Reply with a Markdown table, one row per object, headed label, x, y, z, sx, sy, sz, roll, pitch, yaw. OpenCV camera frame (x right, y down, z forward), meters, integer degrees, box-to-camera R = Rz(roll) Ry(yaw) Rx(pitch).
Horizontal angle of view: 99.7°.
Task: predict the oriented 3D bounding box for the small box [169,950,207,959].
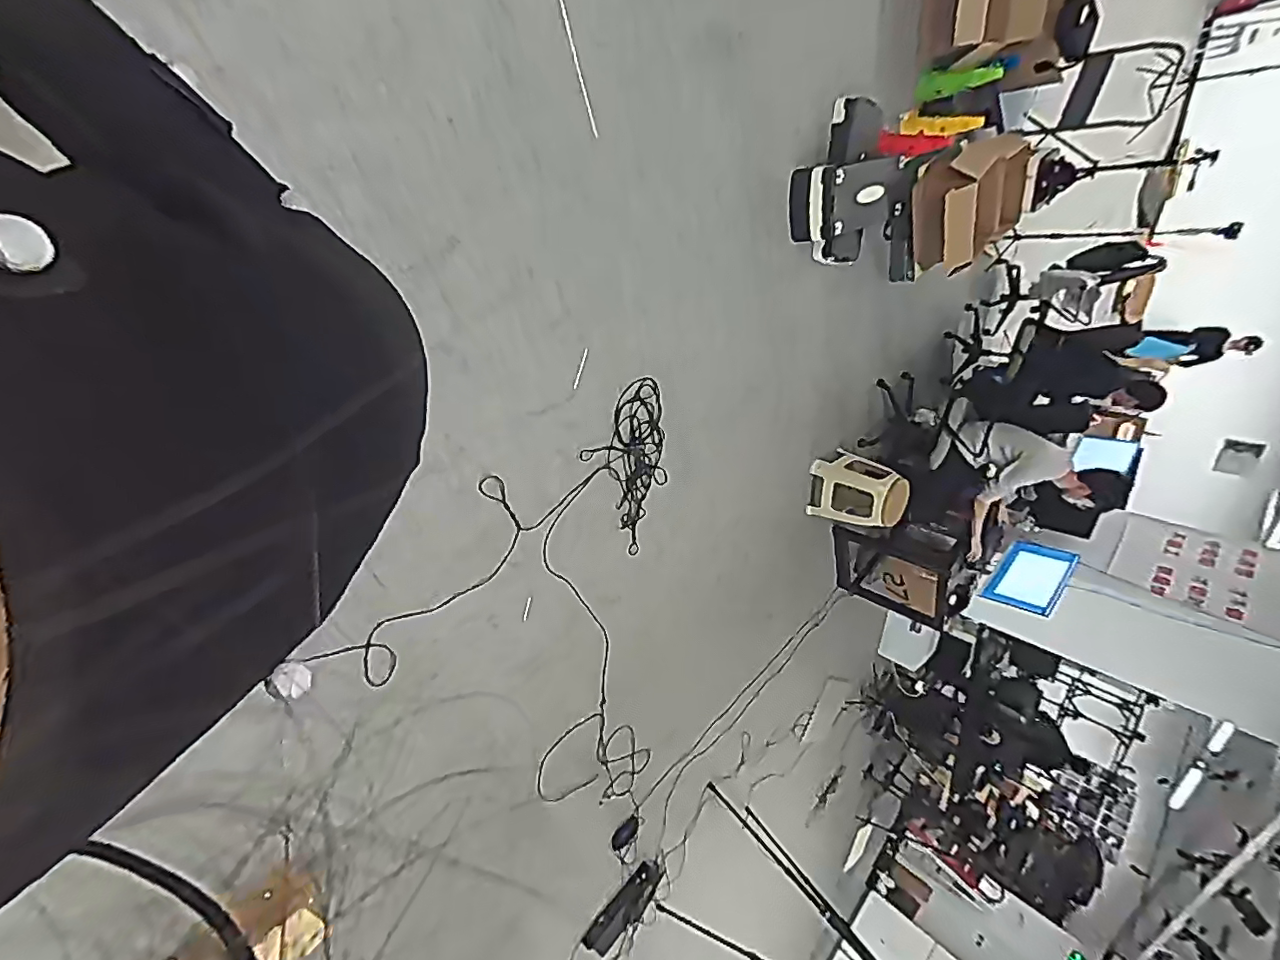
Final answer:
| label | x | y | z | sx | sy | sz | roll | pitch | yaw |
| --- | --- | --- | --- | --- | --- | --- | --- | --- | --- |
| small box | -1.226 | 1.393 | 1.414 | 0.168 | 0.176 | 0.179 | -36 | 129 | -30 |

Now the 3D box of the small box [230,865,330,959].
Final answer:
| label | x | y | z | sx | sy | sz | roll | pitch | yaw |
| --- | --- | --- | --- | --- | --- | --- | --- | --- | --- |
| small box | -1.036 | 1.264 | 1.555 | 0.168 | 0.176 | 0.179 | -36 | 128 | -30 |
